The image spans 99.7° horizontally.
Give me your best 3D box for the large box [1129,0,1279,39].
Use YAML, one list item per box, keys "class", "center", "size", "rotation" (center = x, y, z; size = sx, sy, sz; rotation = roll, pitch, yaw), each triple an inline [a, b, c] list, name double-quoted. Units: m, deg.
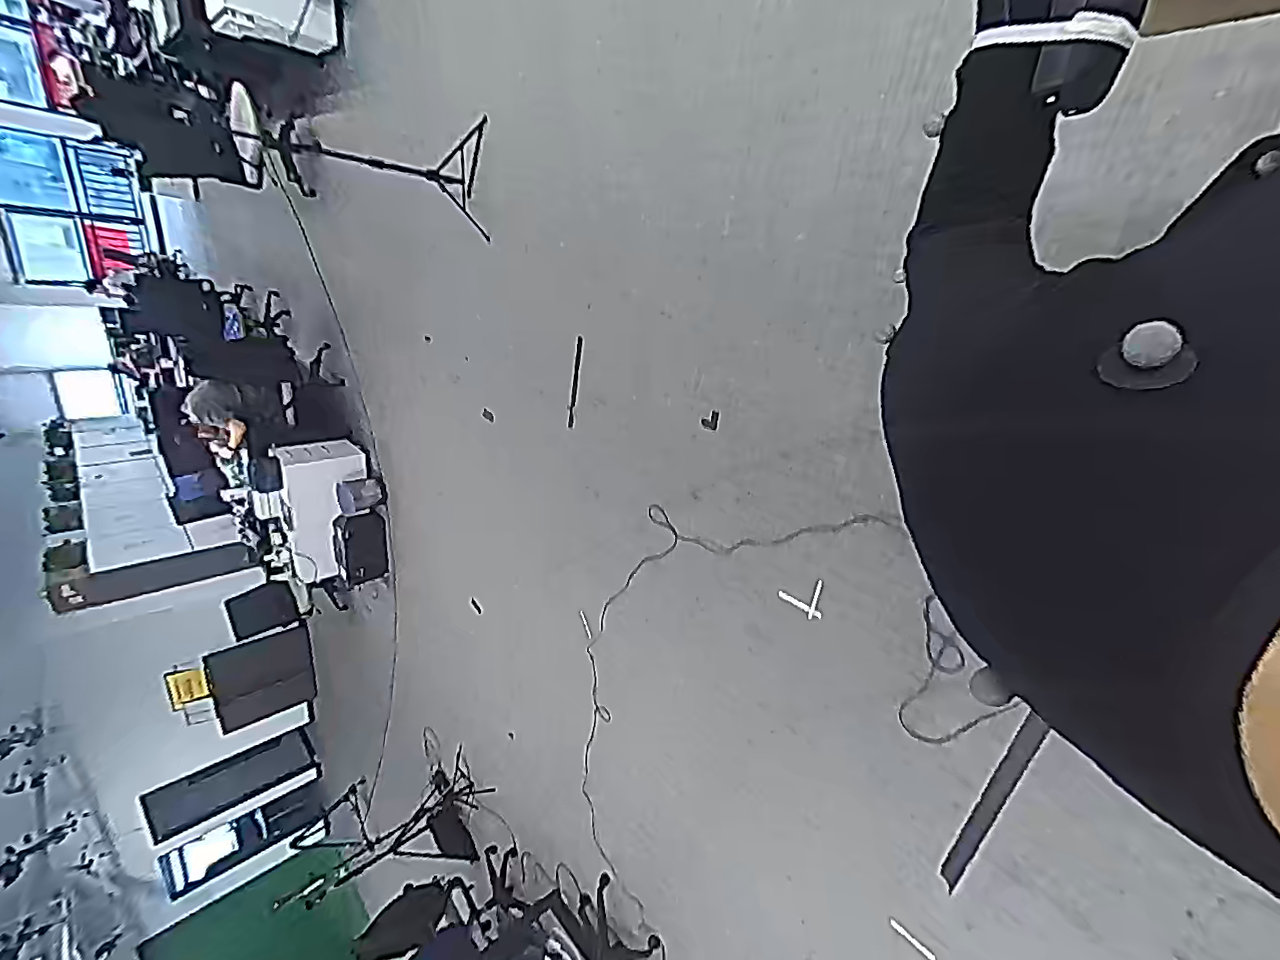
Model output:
- class: "large box"
  center: [0.525, -0.470, 0.246]
  size: [0.408, 0.320, 0.320]
  rotation: [18, 123, 37]
